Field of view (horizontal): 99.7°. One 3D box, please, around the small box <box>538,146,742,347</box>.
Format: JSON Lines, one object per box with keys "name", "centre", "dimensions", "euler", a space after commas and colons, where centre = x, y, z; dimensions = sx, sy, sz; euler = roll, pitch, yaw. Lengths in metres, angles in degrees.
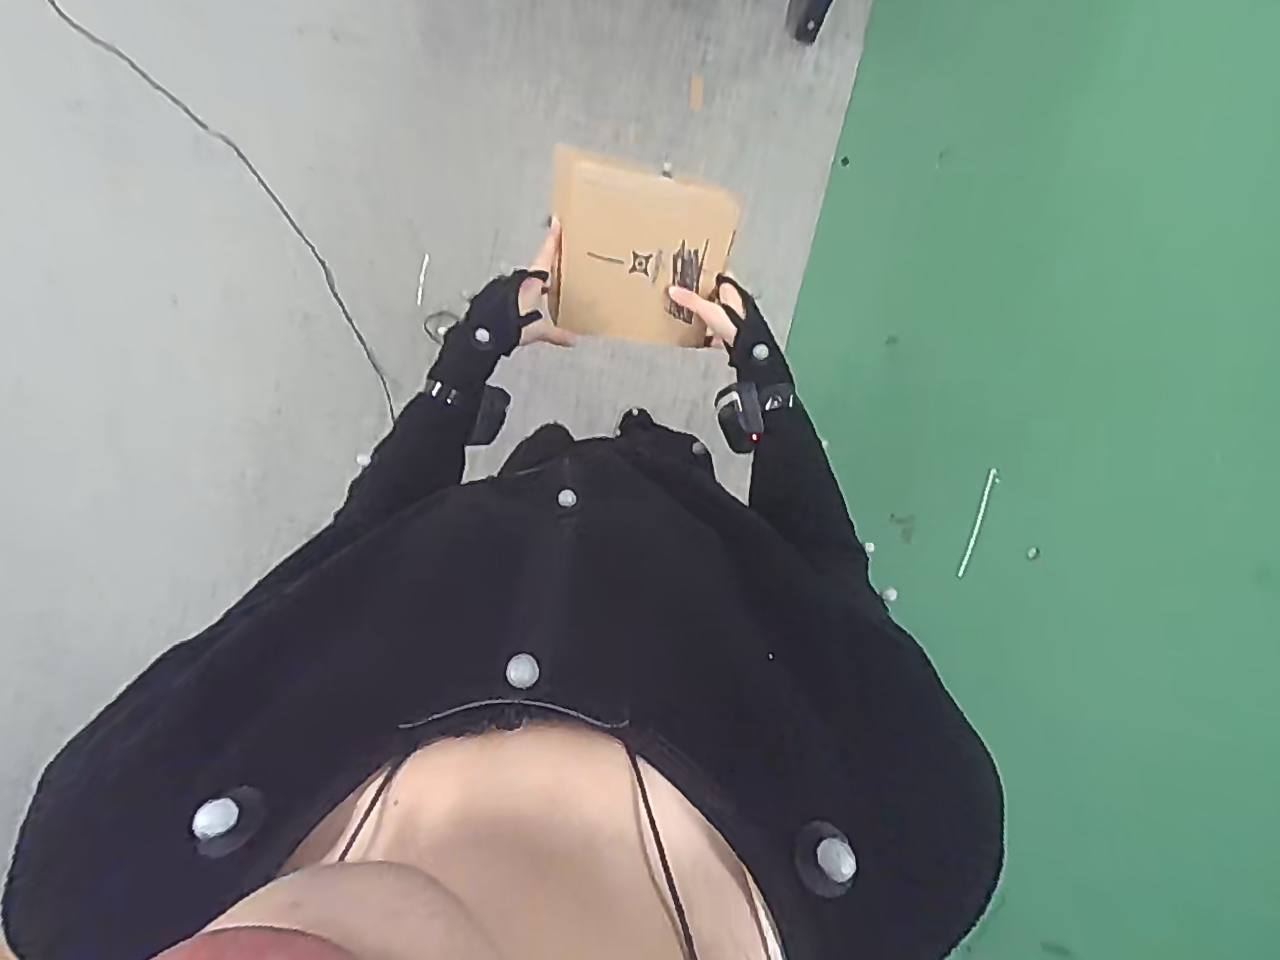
{"name": "small box", "centre": [-0.014, -0.270, 0.623], "dimensions": [0.179, 0.176, 0.168], "euler": [2, 124, -18]}
